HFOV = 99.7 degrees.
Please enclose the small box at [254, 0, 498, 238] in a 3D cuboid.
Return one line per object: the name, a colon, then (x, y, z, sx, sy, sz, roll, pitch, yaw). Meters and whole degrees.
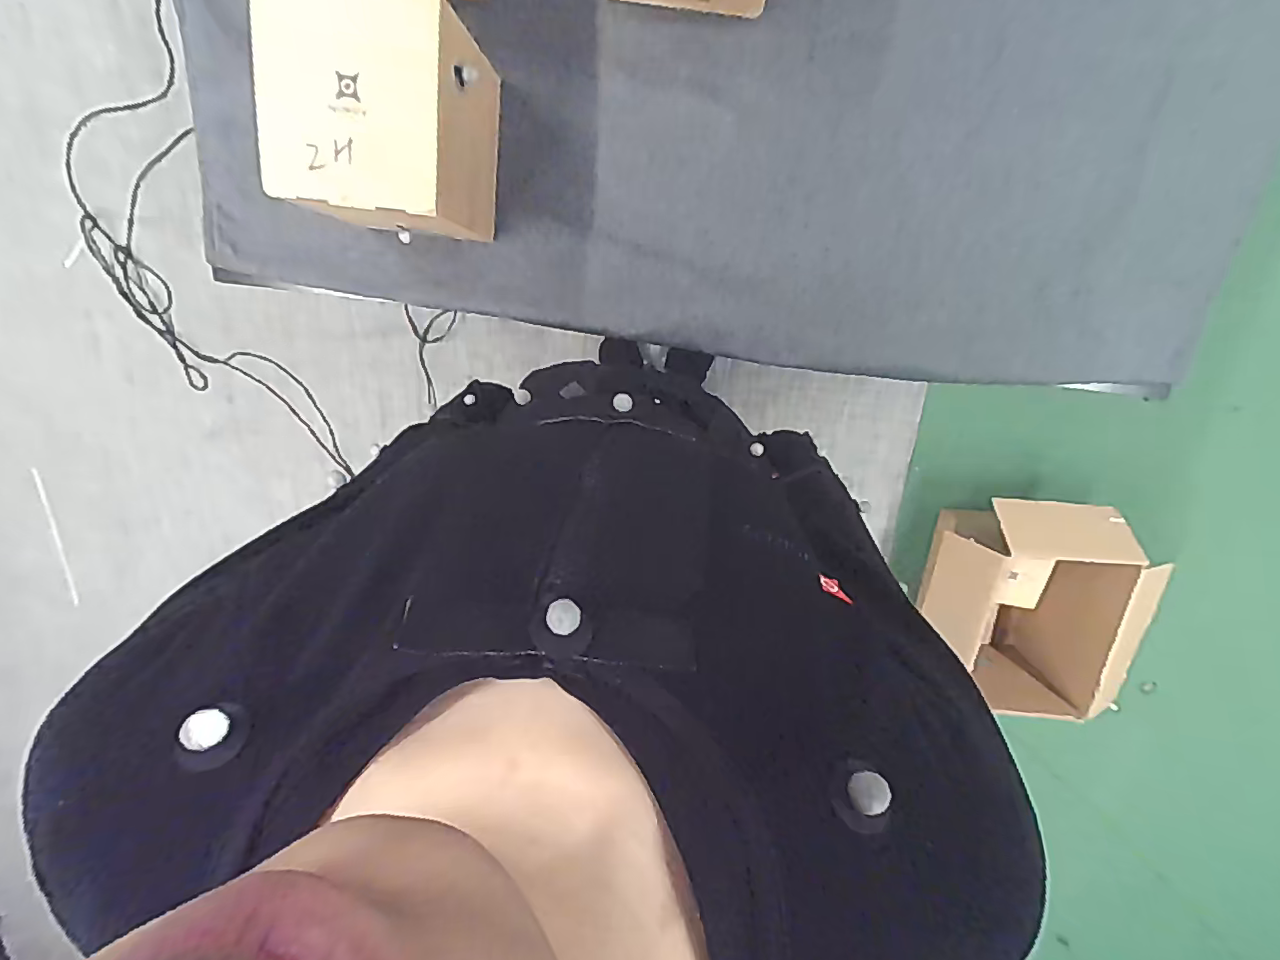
small box: (-0.250, -0.362, 0.551, 0.168, 0.176, 0.179, 8, 107, 1)
